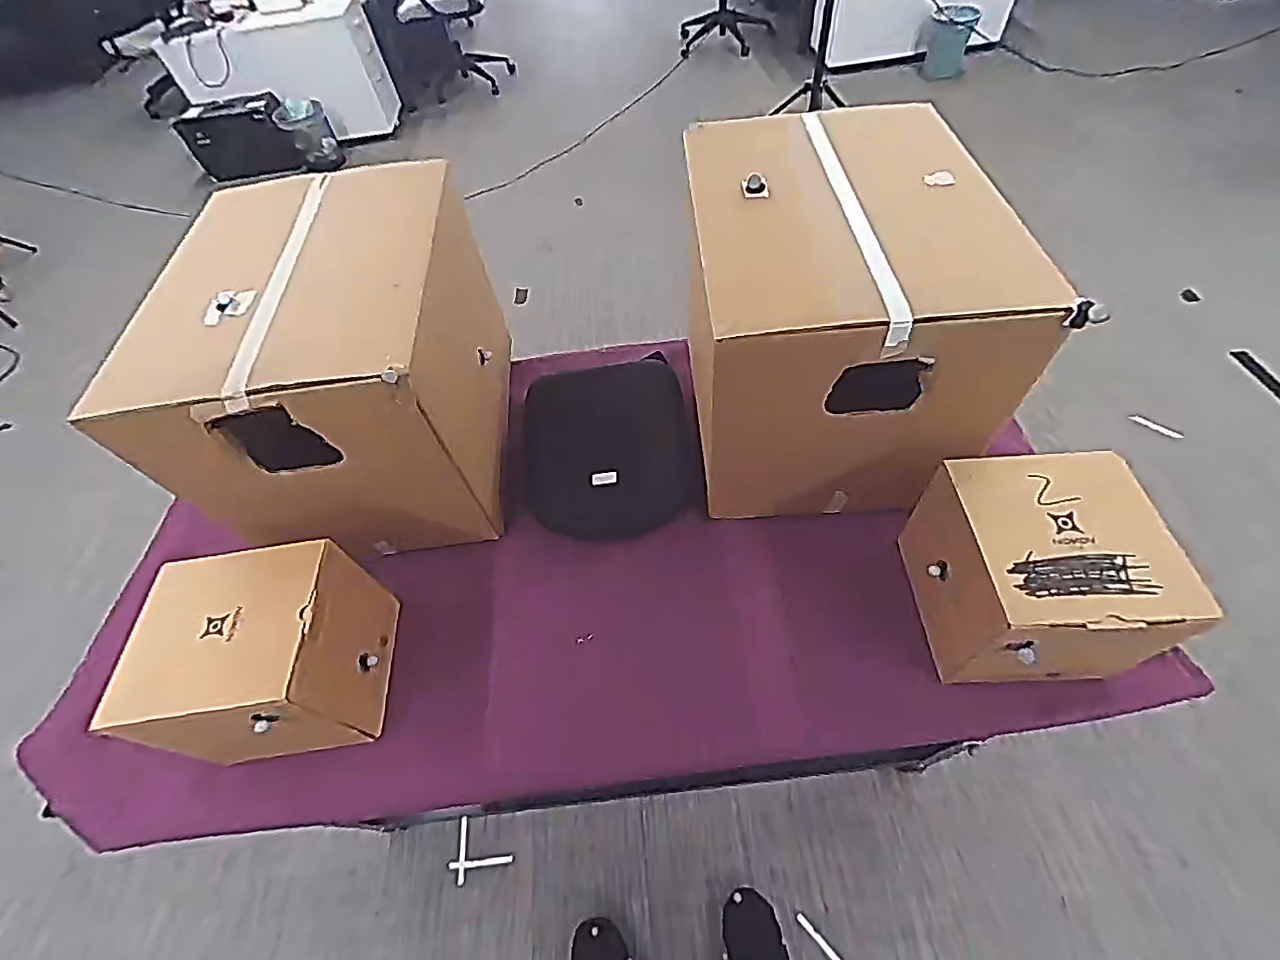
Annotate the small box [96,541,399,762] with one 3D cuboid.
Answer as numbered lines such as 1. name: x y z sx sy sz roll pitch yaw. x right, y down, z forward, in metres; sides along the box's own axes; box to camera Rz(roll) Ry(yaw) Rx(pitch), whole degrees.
1. small box: -0.391 0.190 0.581 0.179 0.176 0.168 -10 53 0

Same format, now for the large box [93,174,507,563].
1. large box: -0.370 -0.139 0.729 0.320 0.320 0.408 -9 56 0
